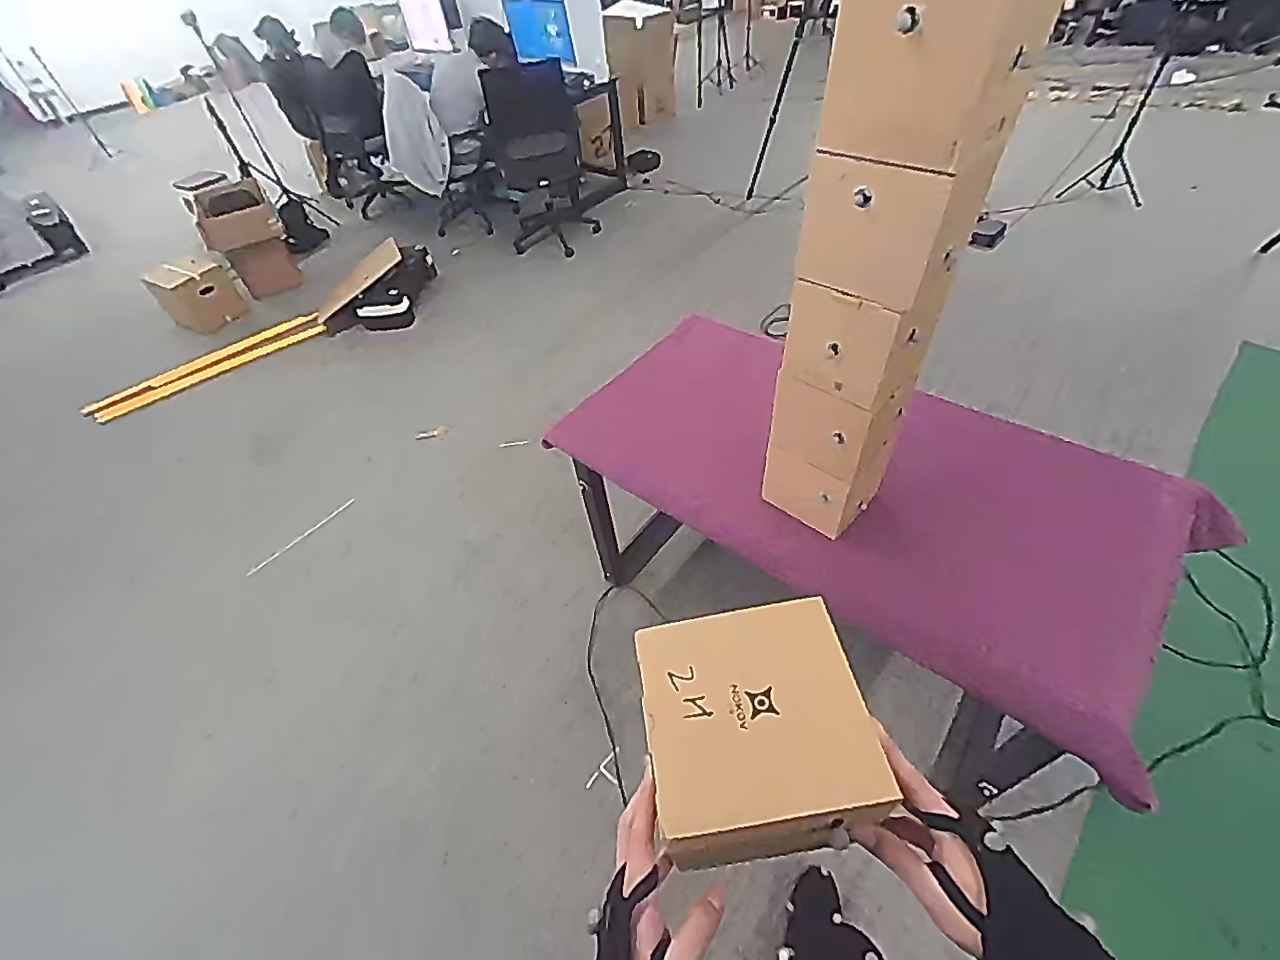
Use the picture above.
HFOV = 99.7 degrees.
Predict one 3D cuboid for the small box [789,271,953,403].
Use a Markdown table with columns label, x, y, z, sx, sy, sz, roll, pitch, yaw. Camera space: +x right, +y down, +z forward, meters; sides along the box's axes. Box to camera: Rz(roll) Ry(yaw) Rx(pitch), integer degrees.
| label | x | y | z | sx | sy | sz | roll | pitch | yaw |
| --- | --- | --- | --- | --- | --- | --- | --- | --- | --- |
| small box | 0.348 | -0.248 | 0.840 | 0.168 | 0.176 | 0.179 | 34 | 60 | 31 |

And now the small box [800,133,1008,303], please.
| label | x | y | z | sx | sy | sz | roll | pitch | yaw |
| --- | --- | --- | --- | --- | --- | --- | --- | --- | --- |
| small box | 0.335 | -0.360 | 0.720 | 0.179 | 0.176 | 0.168 | 33 | 58 | 29 |

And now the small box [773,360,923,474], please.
| label | x | y | z | sx | sy | sz | roll | pitch | yaw |
| --- | --- | --- | --- | --- | --- | --- | --- | --- | --- |
| small box | 0.358 | -0.135 | 0.958 | 0.179 | 0.176 | 0.168 | 34 | 60 | 31 |

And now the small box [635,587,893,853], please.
| label | x | y | z | sx | sy | sz | roll | pitch | yaw |
| --- | --- | --- | --- | --- | --- | --- | --- | --- | --- |
| small box | 0.099 | 0.224 | 0.498 | 0.179 | 0.176 | 0.168 | -11 | 47 | 2 |

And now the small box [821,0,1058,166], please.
| label | x | y | z | sx | sy | sz | roll | pitch | yaw |
| --- | --- | --- | --- | --- | --- | --- | --- | --- | --- |
| small box | 0.328 | -0.468 | 0.599 | 0.179 | 0.176 | 0.168 | 32 | 58 | 31 |
